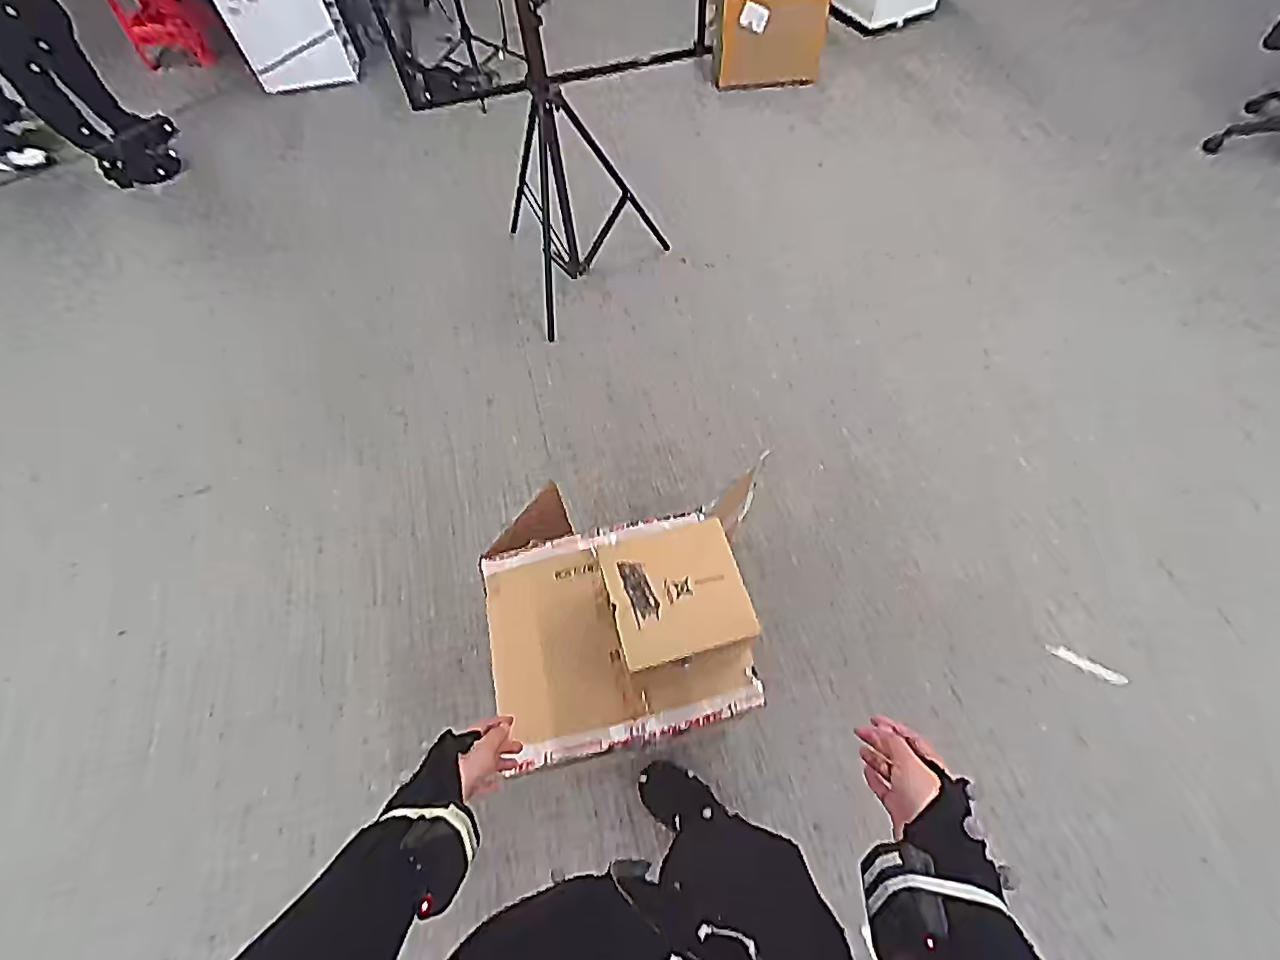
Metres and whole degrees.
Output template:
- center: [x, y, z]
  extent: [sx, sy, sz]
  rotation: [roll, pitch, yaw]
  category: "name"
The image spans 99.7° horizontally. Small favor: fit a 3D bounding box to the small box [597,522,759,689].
- center: [0.047, 0.184, 0.766]
  extent: [0.179, 0.176, 0.168]
  rotation: [-14, 63, -8]
  category: "small box"
